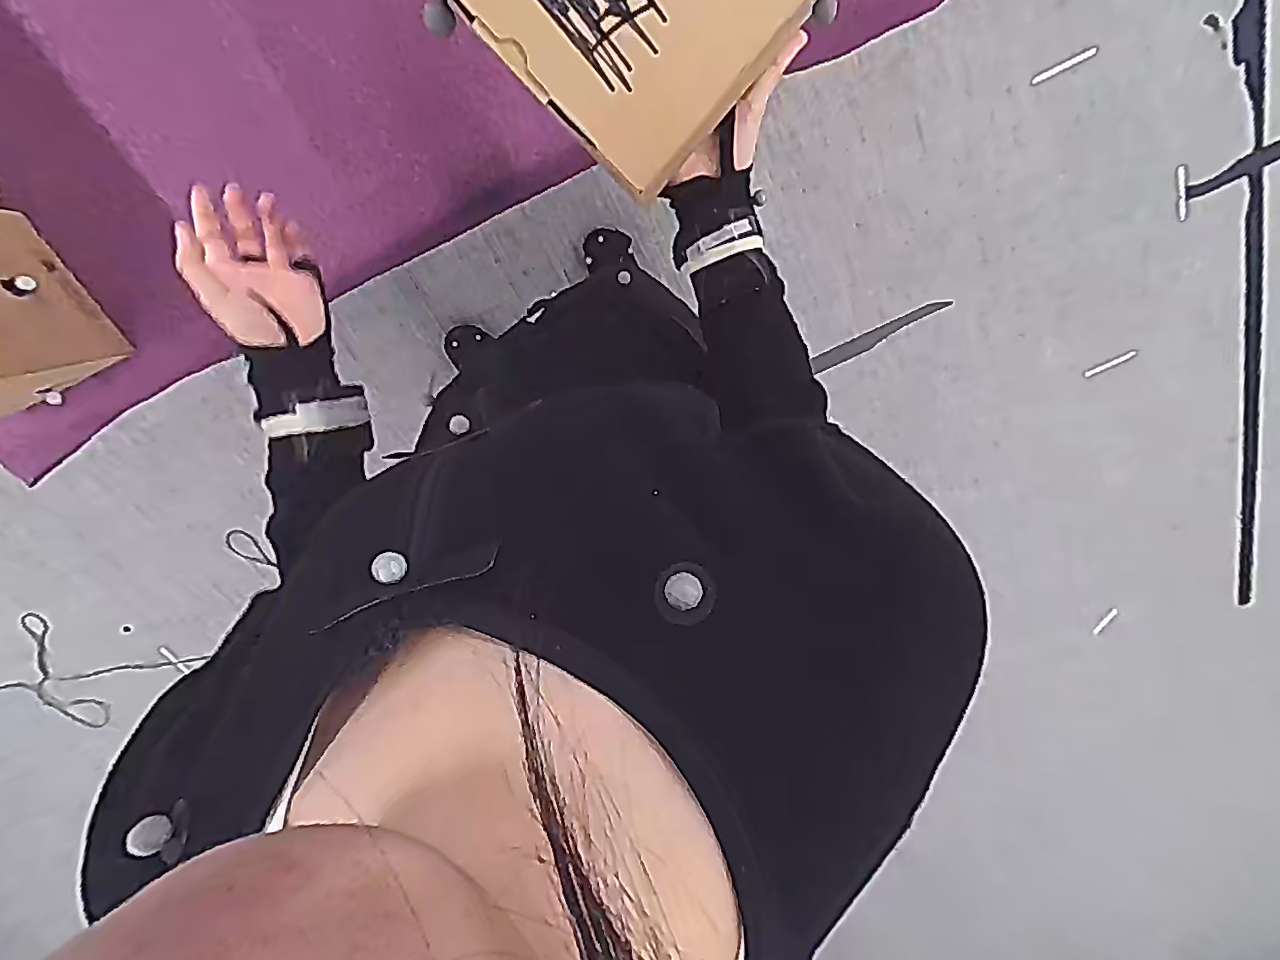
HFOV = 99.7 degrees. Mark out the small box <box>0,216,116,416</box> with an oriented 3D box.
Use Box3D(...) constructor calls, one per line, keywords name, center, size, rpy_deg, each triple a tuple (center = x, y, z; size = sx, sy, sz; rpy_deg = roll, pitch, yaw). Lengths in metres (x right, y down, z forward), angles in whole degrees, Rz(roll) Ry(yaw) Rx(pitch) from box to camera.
Box3D(name="small box", center=(-0.692, -0.152, 0.535), size=(0.179, 0.176, 0.168), rpy_deg=(-25, 113, 3))
